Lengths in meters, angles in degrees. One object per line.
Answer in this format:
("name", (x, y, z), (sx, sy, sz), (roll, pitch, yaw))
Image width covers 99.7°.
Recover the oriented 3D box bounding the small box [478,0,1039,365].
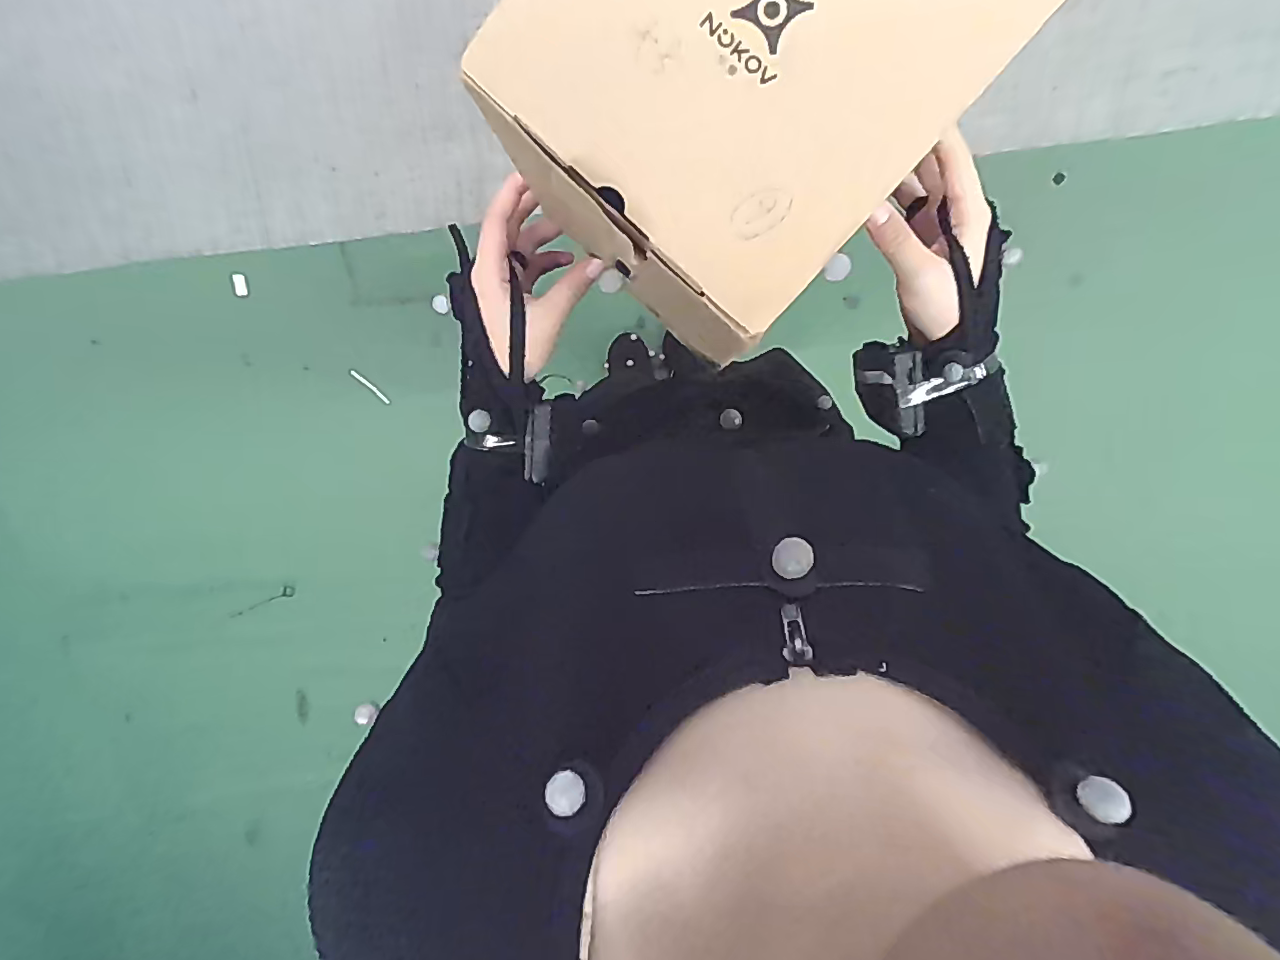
("small box", (0.050, -0.183, 0.303), (0.168, 0.176, 0.179), (42, 98, -3))
